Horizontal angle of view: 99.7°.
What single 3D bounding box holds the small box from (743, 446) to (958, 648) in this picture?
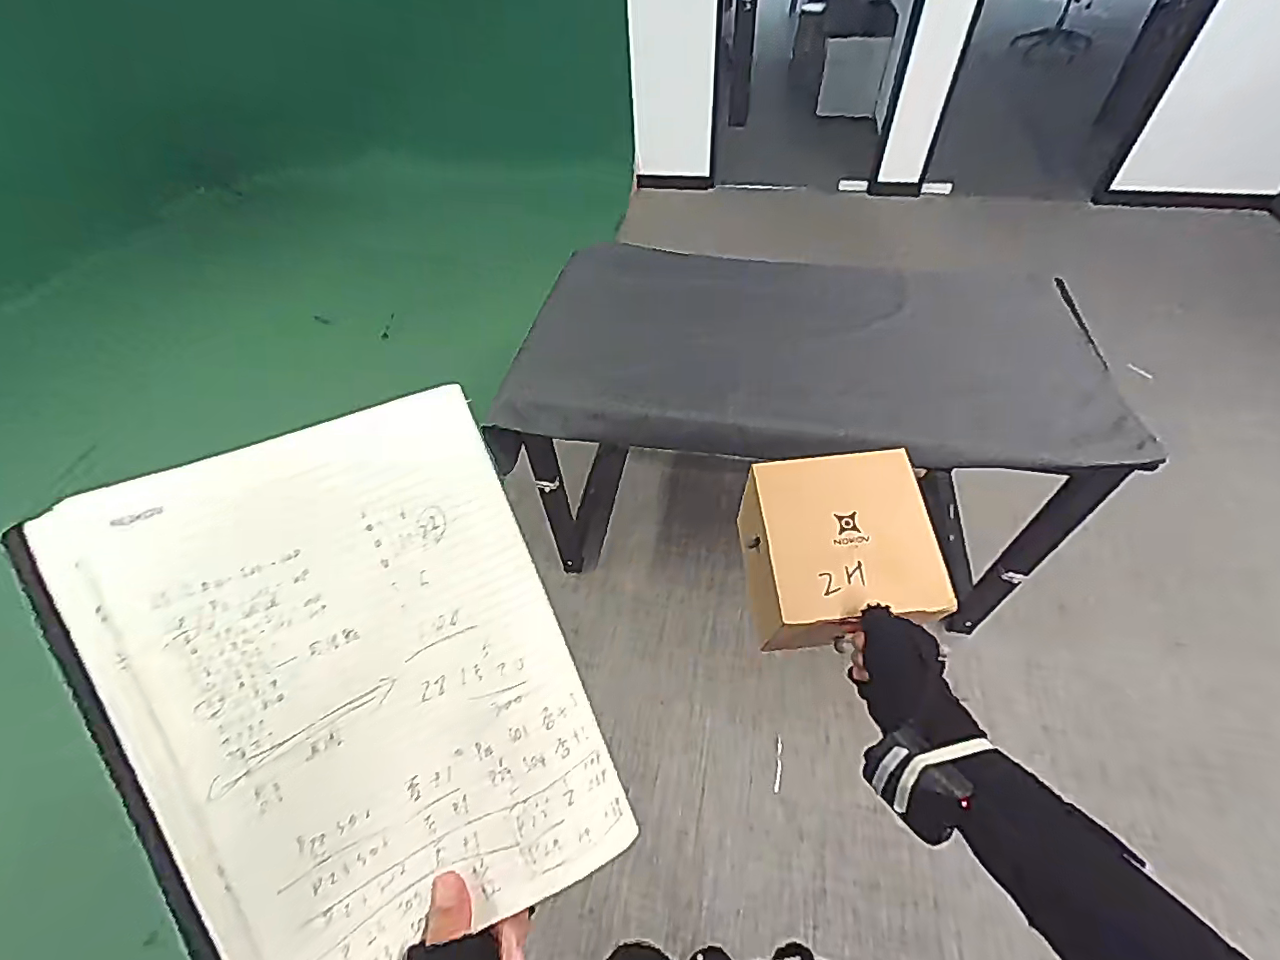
[{"bbox_3d":[0.217,0.083,0.617,0.168,0.176,0.179,-6,64,2],"label":"small box"}]
